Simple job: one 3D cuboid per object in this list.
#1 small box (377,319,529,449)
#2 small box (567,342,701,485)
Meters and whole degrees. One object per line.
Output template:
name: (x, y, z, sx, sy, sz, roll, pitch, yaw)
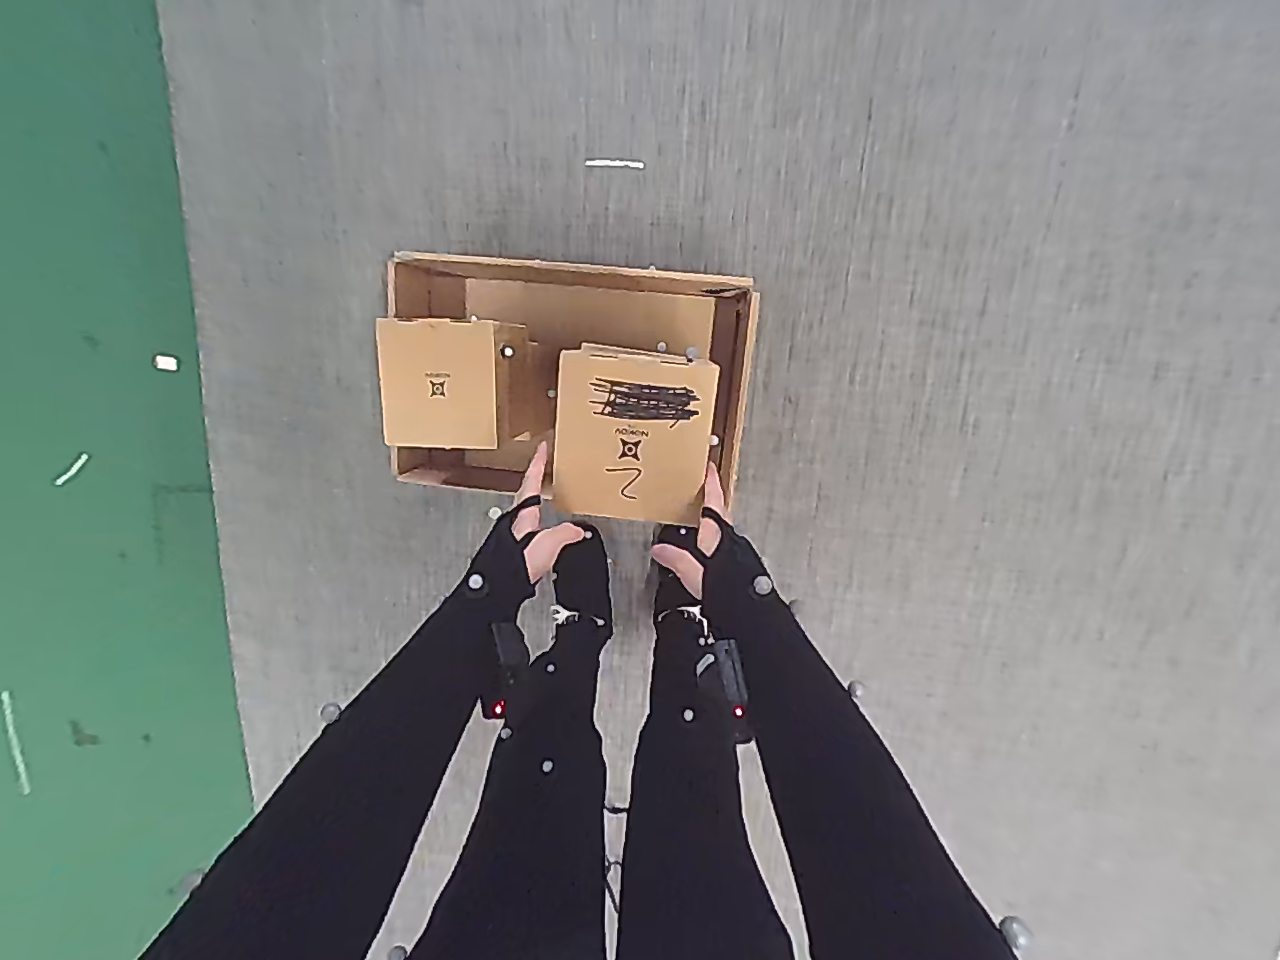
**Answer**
small box: (-0.272, -0.150, 0.825, 0.168, 0.176, 0.179, 2, 102, 4)
small box: (-0.003, -0.106, 0.809, 0.168, 0.176, 0.179, 9, 103, 3)
